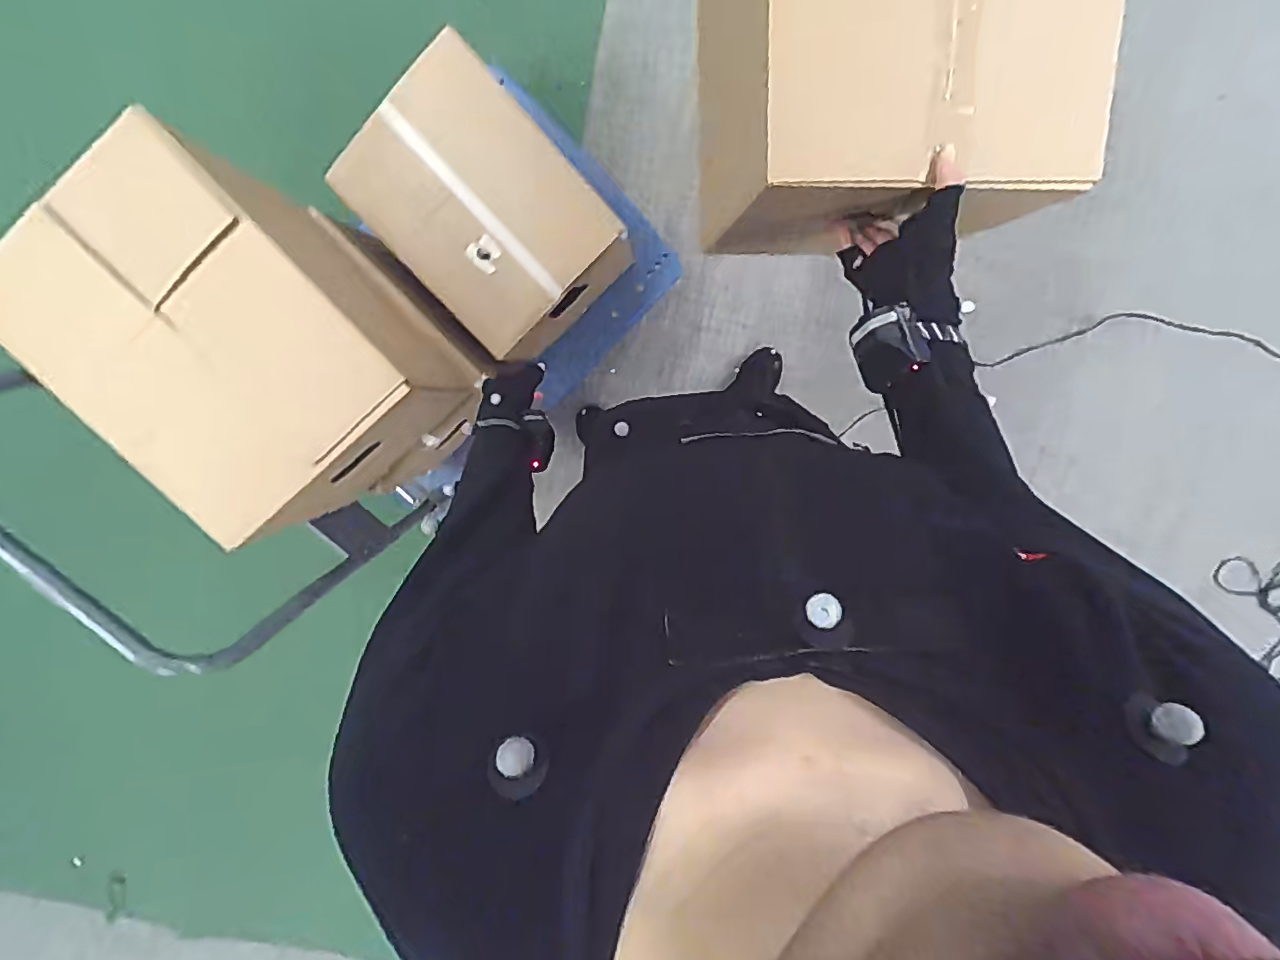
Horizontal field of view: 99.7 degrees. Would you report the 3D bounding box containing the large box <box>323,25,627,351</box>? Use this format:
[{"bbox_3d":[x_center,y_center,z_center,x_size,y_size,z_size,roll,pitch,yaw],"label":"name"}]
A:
[{"bbox_3d":[-0.271,-0.496,1.026,0.320,0.320,0.408,-42,100,11],"label":"large box"}]
